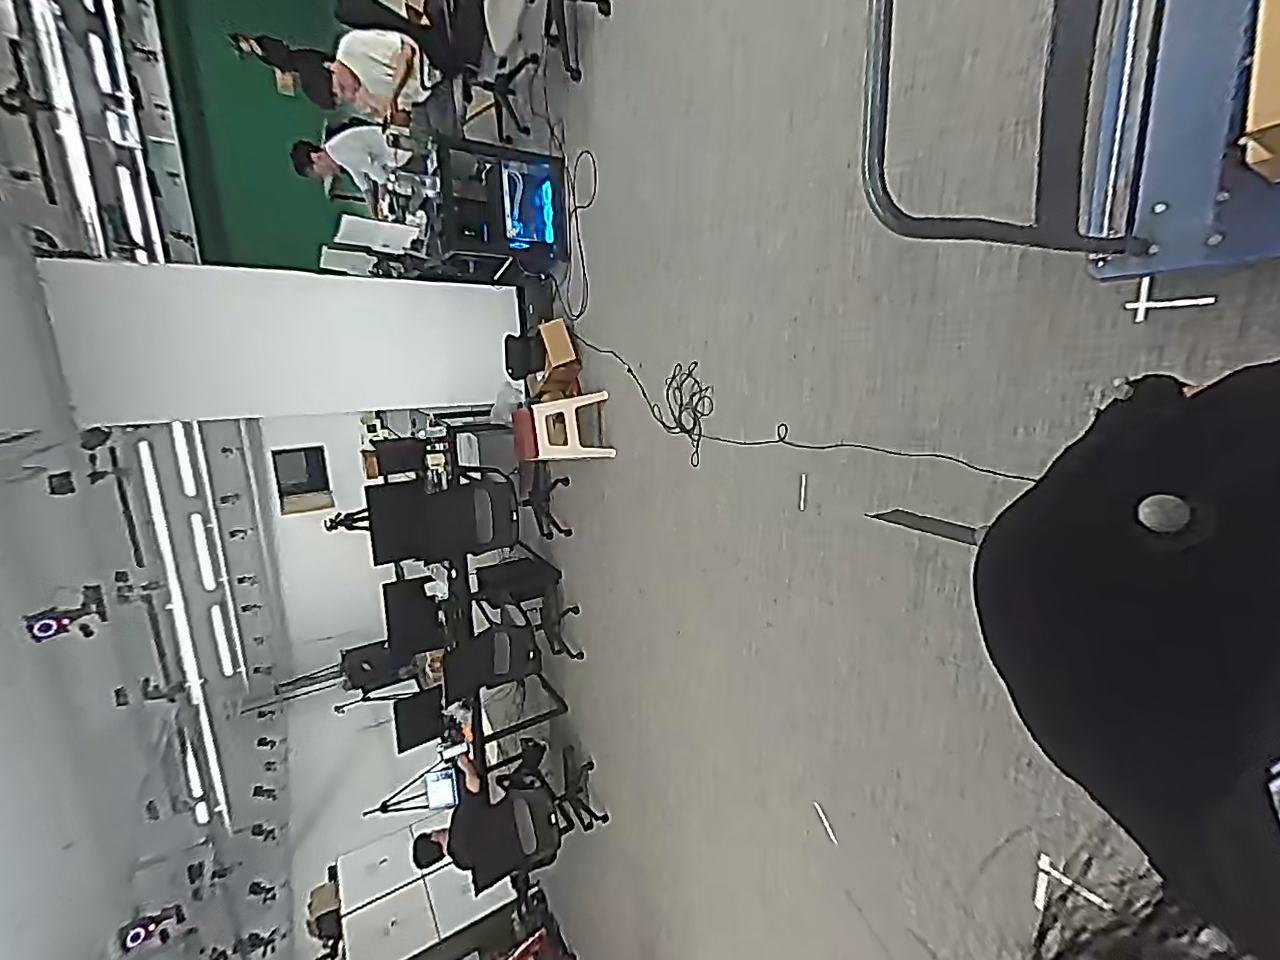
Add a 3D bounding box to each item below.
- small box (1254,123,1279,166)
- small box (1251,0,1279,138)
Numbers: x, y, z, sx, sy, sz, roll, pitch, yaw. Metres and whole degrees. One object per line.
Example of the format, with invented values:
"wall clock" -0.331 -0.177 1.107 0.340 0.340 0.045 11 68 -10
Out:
"small box" 0.977 -0.546 0.728 0.168 0.176 0.179 10 107 57
"small box" 0.852 -0.519 0.620 0.168 0.176 0.179 12 108 57
